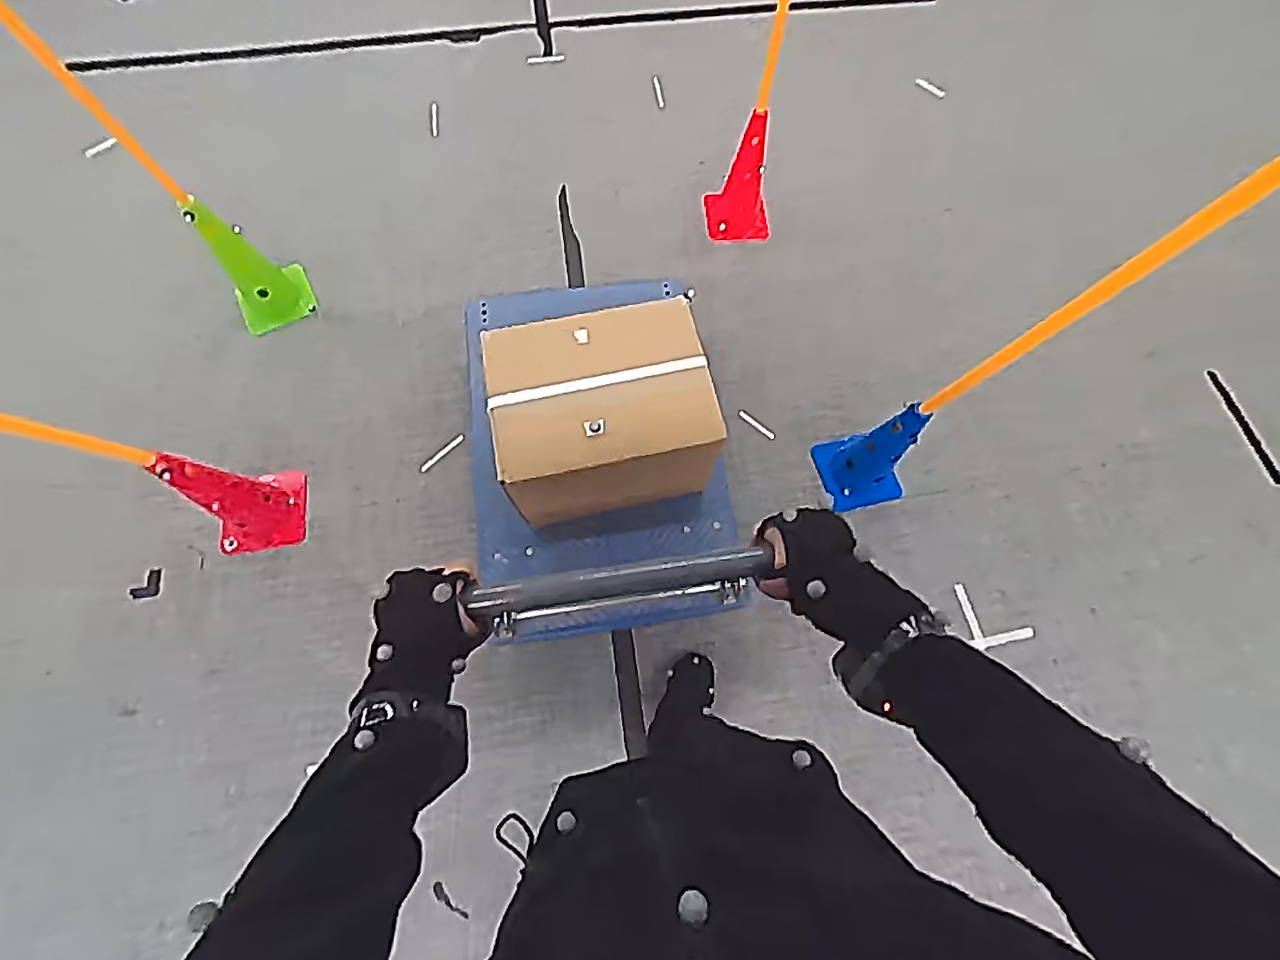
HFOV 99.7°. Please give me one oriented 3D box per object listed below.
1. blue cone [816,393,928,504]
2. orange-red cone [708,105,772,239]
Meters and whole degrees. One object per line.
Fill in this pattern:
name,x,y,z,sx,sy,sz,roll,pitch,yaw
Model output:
blue cone,0.593,-0.092,1.312,0.193,0.380,0.192,-12,70,-6
orange-red cone,0.328,-0.918,1.592,0.199,0.360,0.198,-1,71,-3
